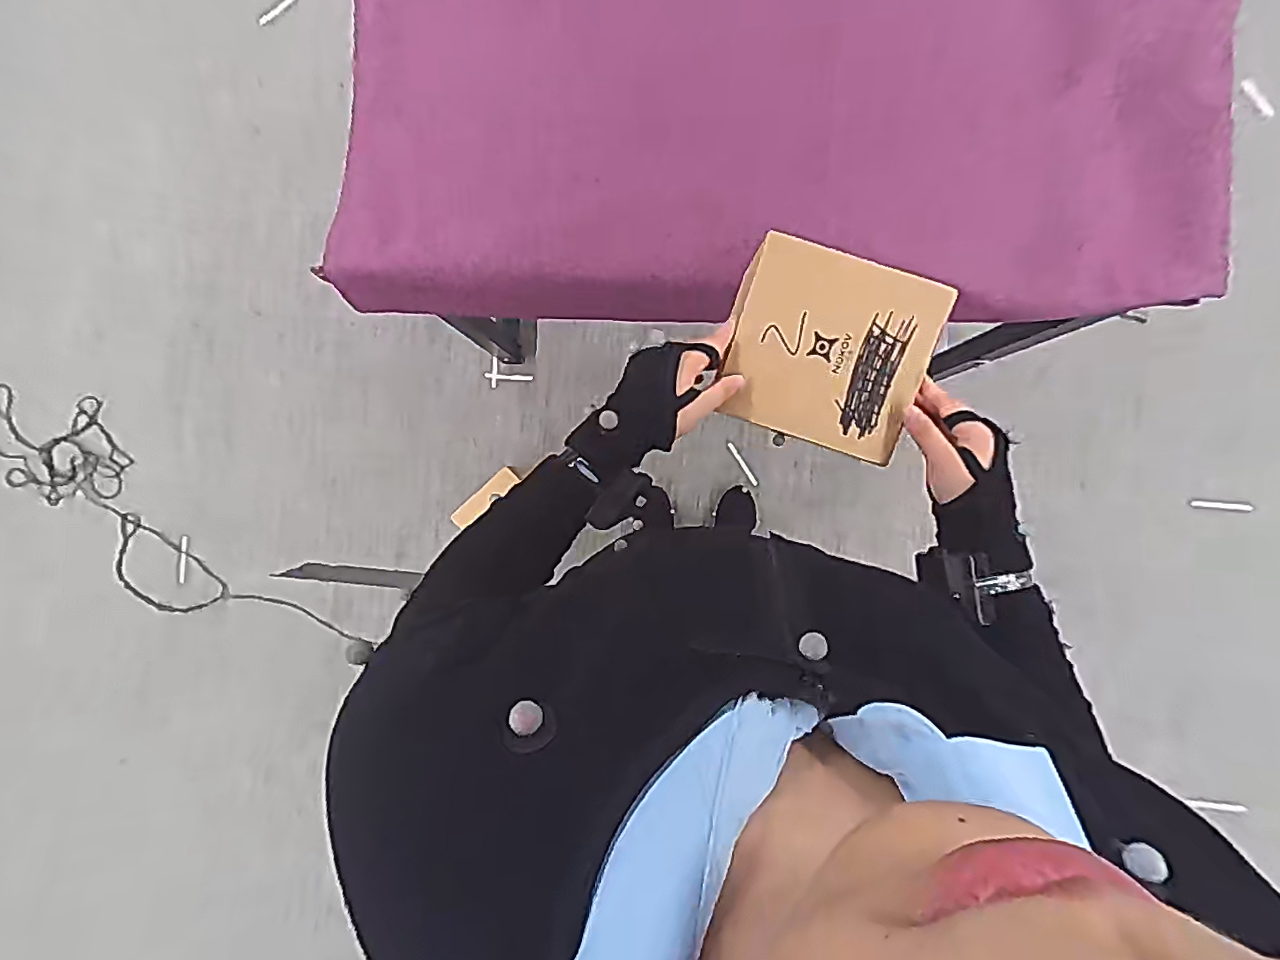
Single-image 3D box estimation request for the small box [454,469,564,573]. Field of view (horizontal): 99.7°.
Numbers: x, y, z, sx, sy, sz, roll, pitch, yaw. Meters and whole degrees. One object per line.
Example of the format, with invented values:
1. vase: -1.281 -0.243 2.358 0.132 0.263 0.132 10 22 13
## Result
1. small box: -0.297 0.091 1.278 0.179 0.176 0.168 -42 88 1
